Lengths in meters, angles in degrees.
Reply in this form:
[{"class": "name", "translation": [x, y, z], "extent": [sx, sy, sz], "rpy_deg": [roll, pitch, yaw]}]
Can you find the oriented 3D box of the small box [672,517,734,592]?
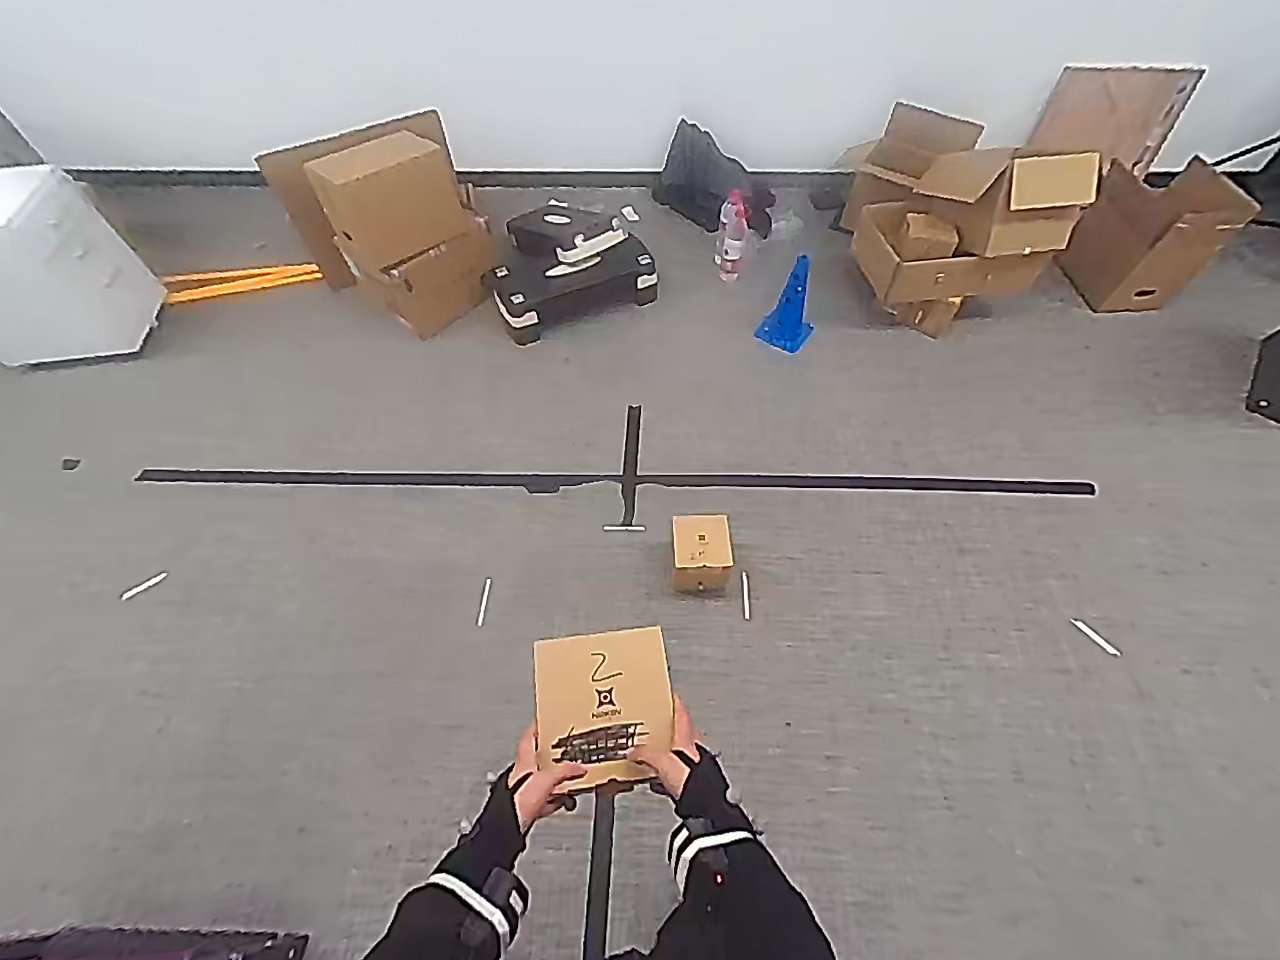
[{"class": "small box", "translation": [0.186, 0.227, 1.645], "extent": [0.168, 0.176, 0.179], "rpy_deg": [-1, 58, 0]}]
